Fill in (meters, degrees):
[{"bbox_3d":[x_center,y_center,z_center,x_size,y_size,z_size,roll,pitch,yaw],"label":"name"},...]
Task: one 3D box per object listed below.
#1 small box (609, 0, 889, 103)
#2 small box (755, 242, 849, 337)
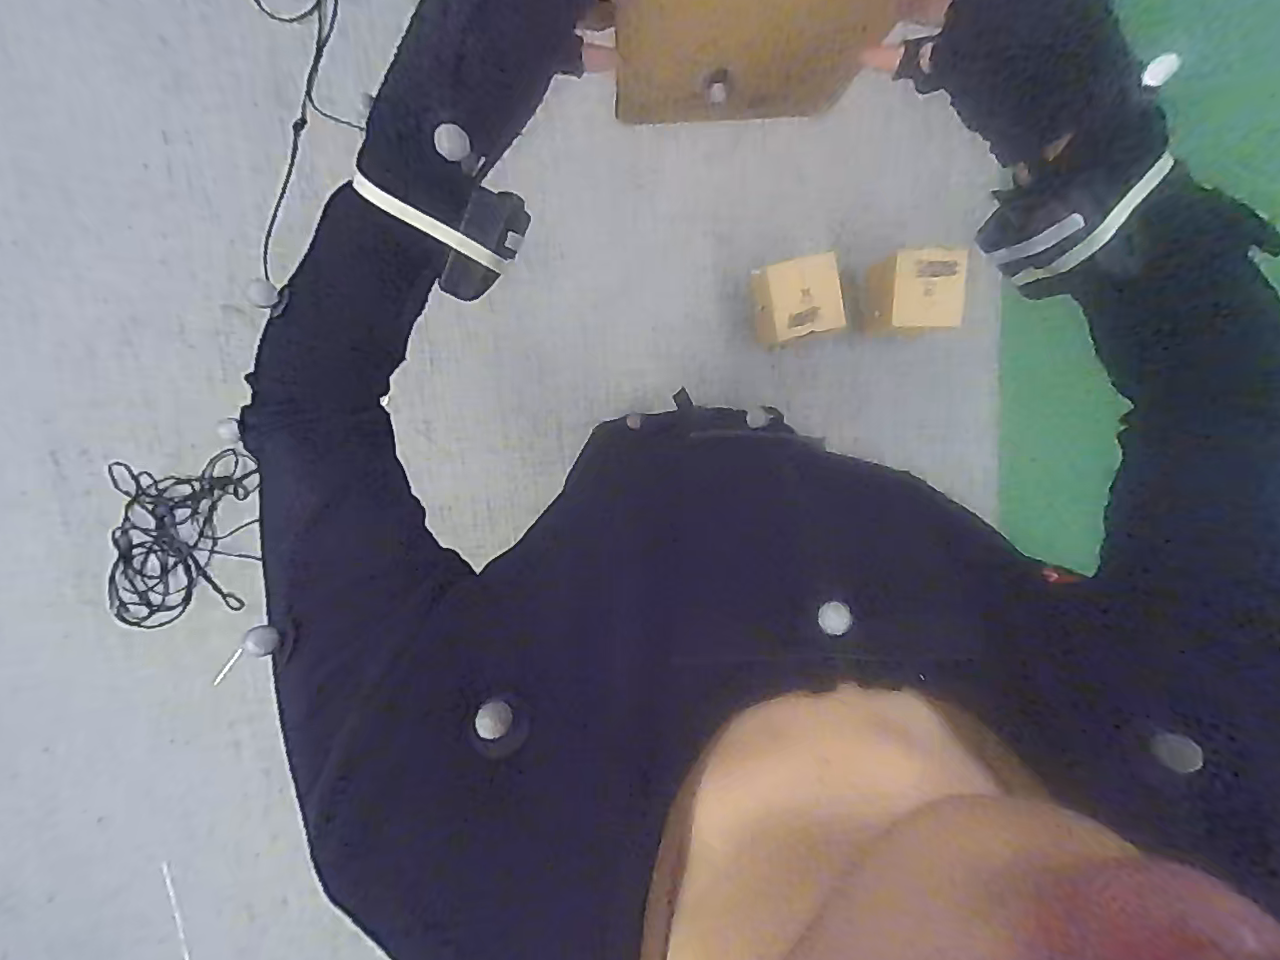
[{"bbox_3d":[0.060,-0.357,0.308,0.168,0.176,0.179,-5,100,1],"label":"small box"},{"bbox_3d":[0.389,-0.453,1.319,0.168,0.176,0.179,-12,97,2],"label":"small box"}]
